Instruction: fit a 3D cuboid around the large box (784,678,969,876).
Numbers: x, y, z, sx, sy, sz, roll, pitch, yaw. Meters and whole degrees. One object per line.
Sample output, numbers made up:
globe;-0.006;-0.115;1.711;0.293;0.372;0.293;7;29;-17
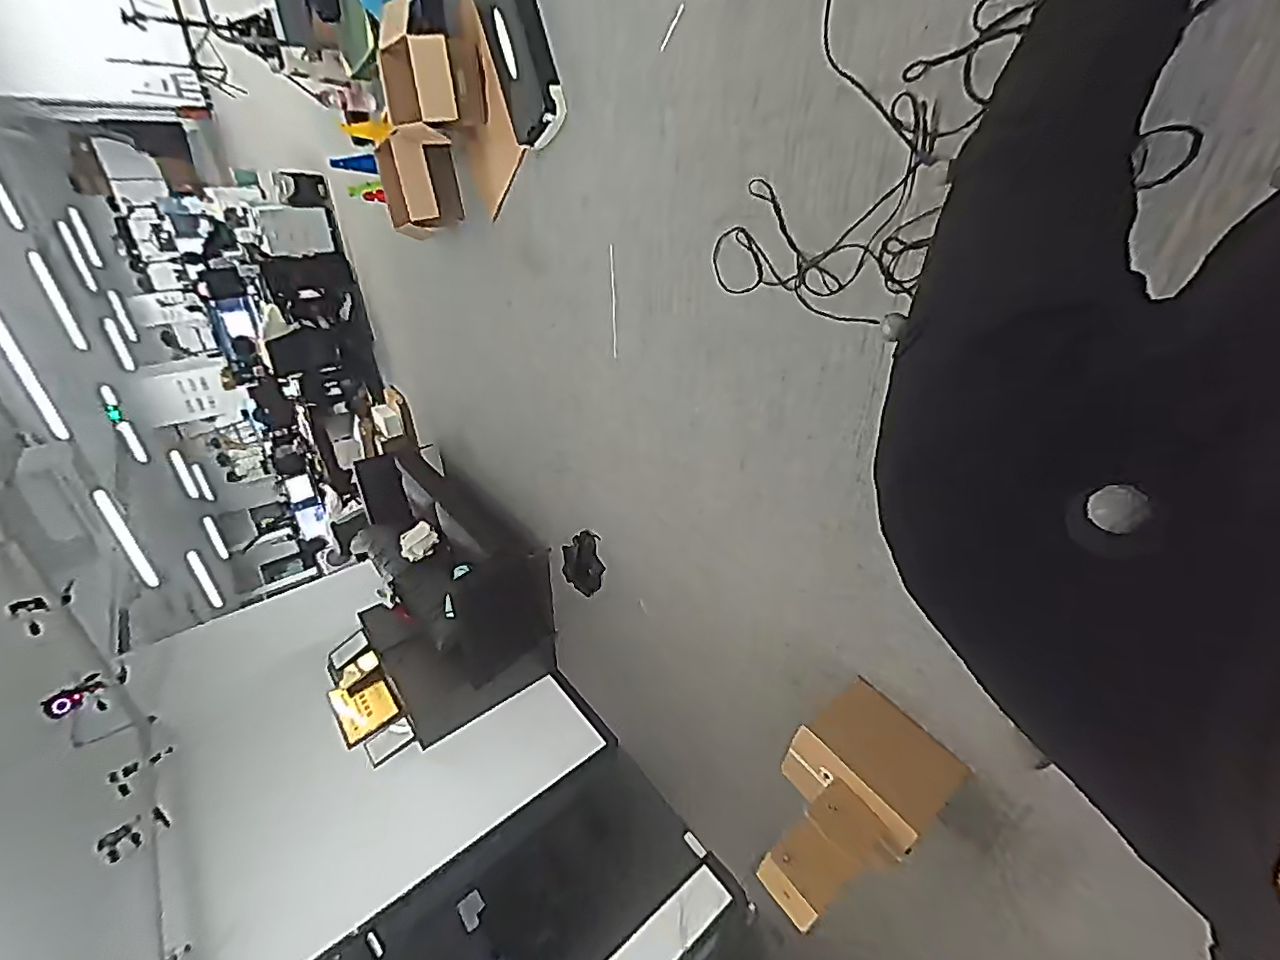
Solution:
large box;0.750;0.943;1.755;0.408;0.320;0.320;40;137;37

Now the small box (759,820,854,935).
small box;0.465;1.104;1.512;0.179;0.176;0.168;39;139;37

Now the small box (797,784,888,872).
small box;0.588;1.036;1.595;0.179;0.176;0.168;38;138;35
